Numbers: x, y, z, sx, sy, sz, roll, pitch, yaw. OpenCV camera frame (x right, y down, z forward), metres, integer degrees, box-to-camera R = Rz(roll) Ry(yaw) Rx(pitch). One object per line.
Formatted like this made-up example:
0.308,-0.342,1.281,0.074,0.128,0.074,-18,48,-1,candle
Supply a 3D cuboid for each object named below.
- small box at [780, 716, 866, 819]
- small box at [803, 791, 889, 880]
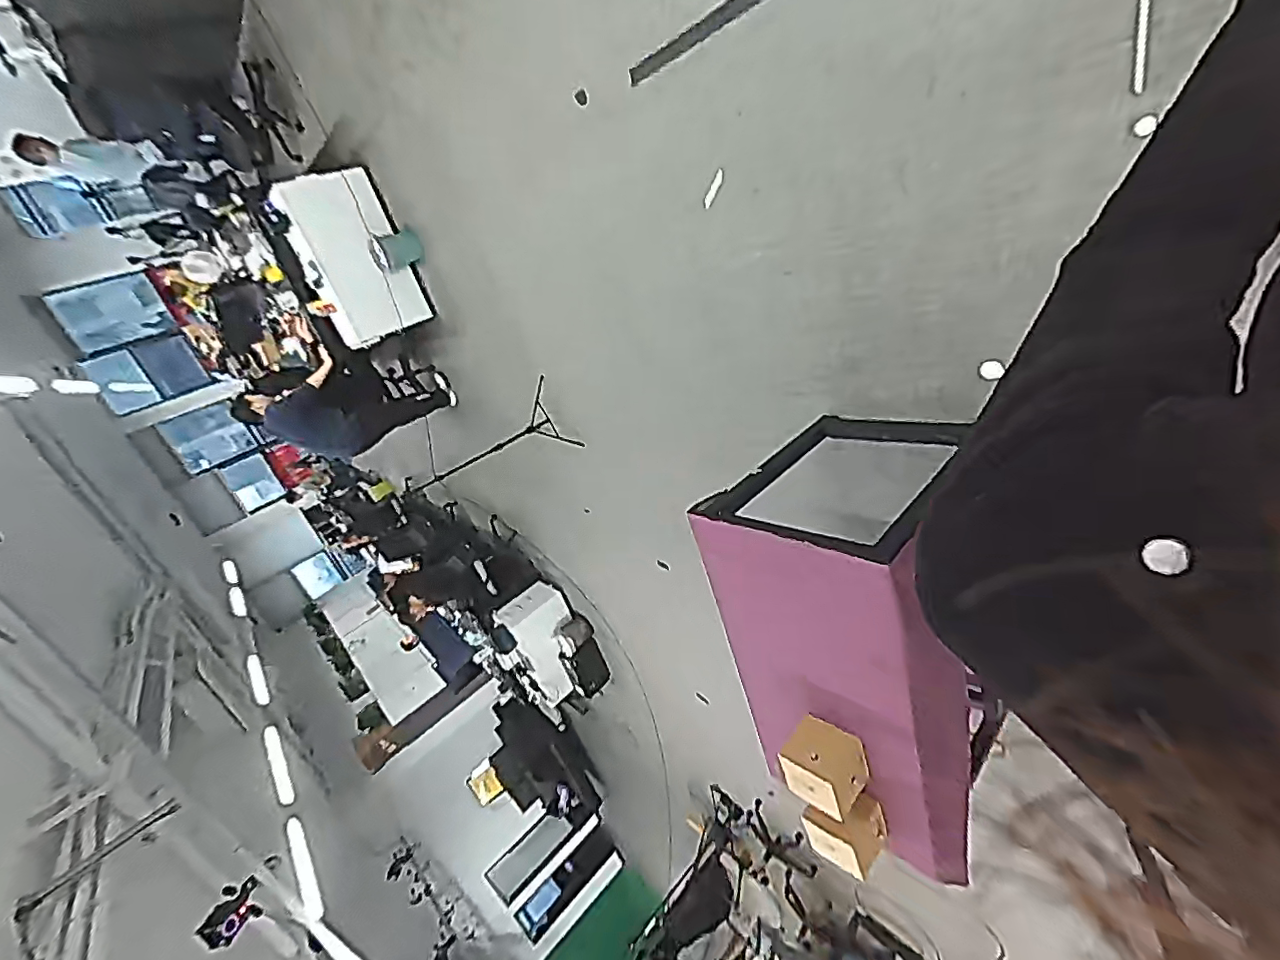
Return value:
0.543,0.832,1.585,0.179,0.176,0.168,9,126,50,small box
0.640,1.072,1.679,0.179,0.176,0.168,7,125,51,small box
